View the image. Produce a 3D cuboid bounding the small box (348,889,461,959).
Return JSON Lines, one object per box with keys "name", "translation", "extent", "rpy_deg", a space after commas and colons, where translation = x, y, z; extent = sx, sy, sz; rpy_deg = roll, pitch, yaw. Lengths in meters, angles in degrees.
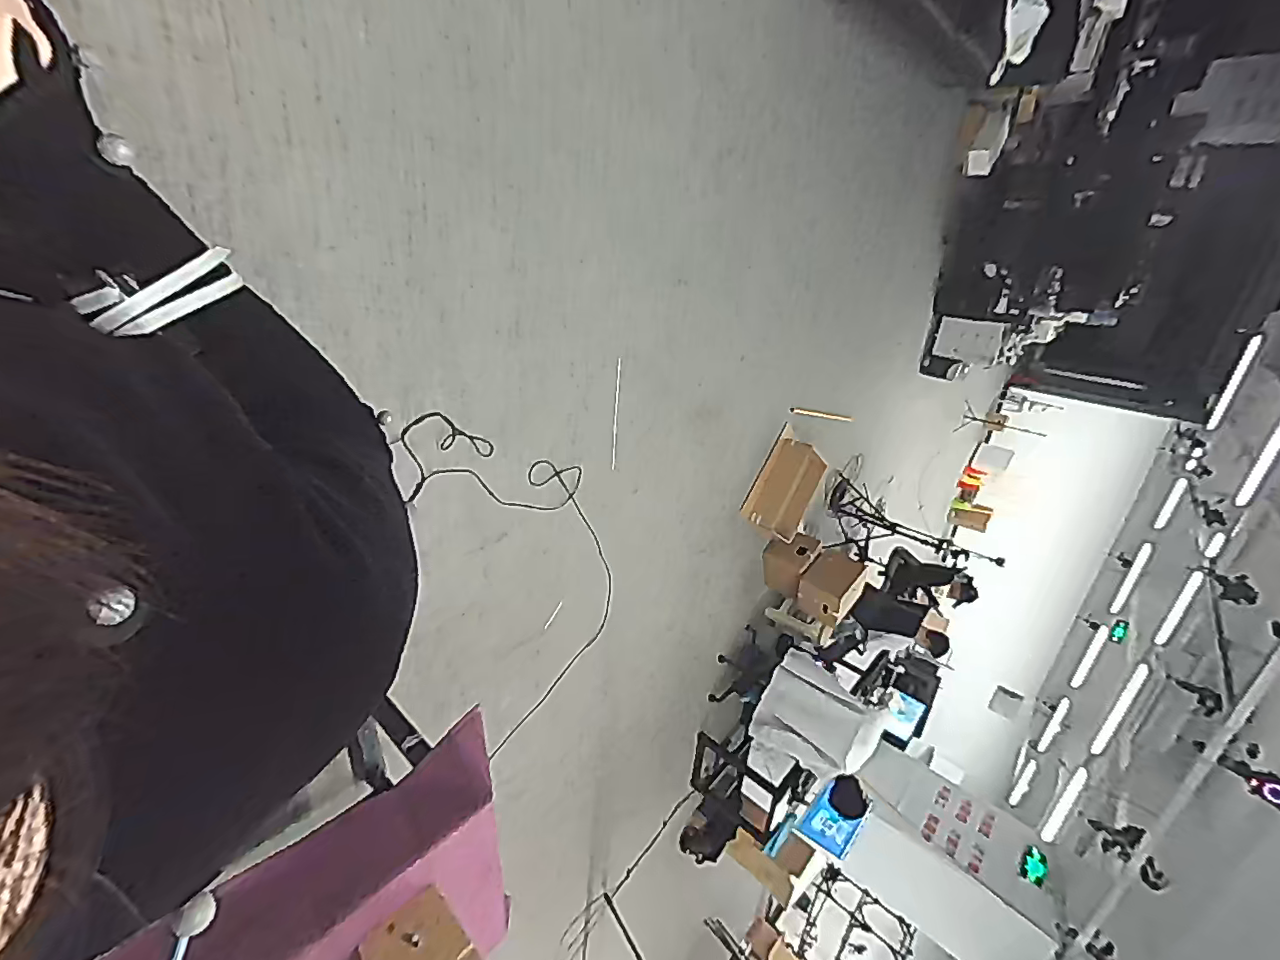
{"name": "small box", "translation": [-0.496, 1.026, 1.147], "extent": [0.168, 0.176, 0.179], "rpy_deg": [-20, 124, -45]}
